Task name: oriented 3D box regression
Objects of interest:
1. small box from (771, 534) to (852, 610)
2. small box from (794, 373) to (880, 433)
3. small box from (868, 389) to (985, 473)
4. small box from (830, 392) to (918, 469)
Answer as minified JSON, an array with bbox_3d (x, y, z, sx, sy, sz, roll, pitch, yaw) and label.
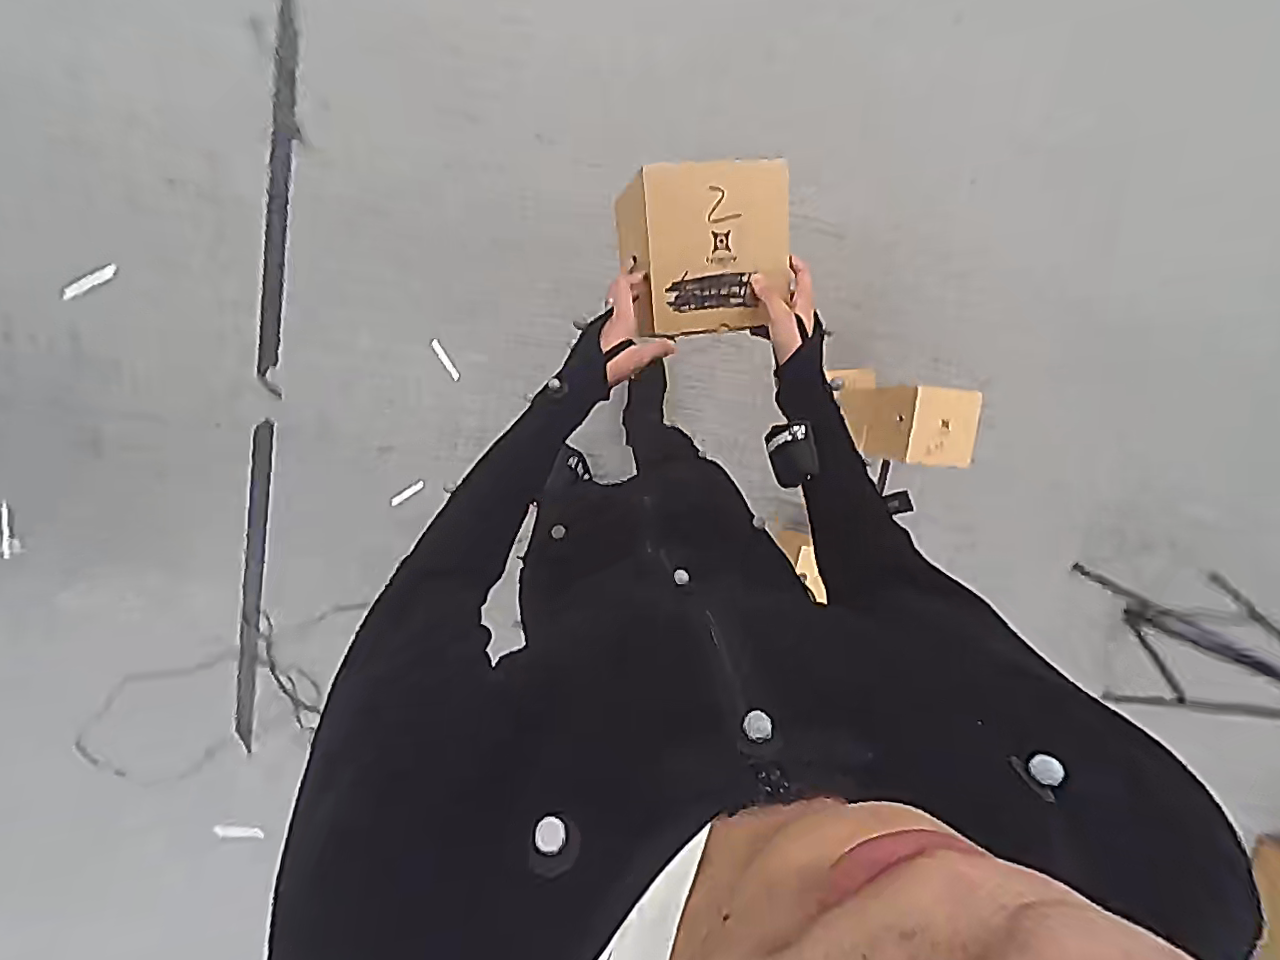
[{"bbox_3d":[0.525,0.280,1.684,0.168,0.176,0.179,9,101,-10],"label":"small box"},{"bbox_3d":[0.572,-0.229,1.587,0.179,0.176,0.168,-2,101,-8],"label":"small box"},{"bbox_3d":[0.671,-0.122,1.286,0.168,0.176,0.179,5,100,-10],"label":"small box"},{"bbox_3d":[0.644,-0.138,1.448,0.179,0.176,0.168,12,98,-10],"label":"small box"}]
